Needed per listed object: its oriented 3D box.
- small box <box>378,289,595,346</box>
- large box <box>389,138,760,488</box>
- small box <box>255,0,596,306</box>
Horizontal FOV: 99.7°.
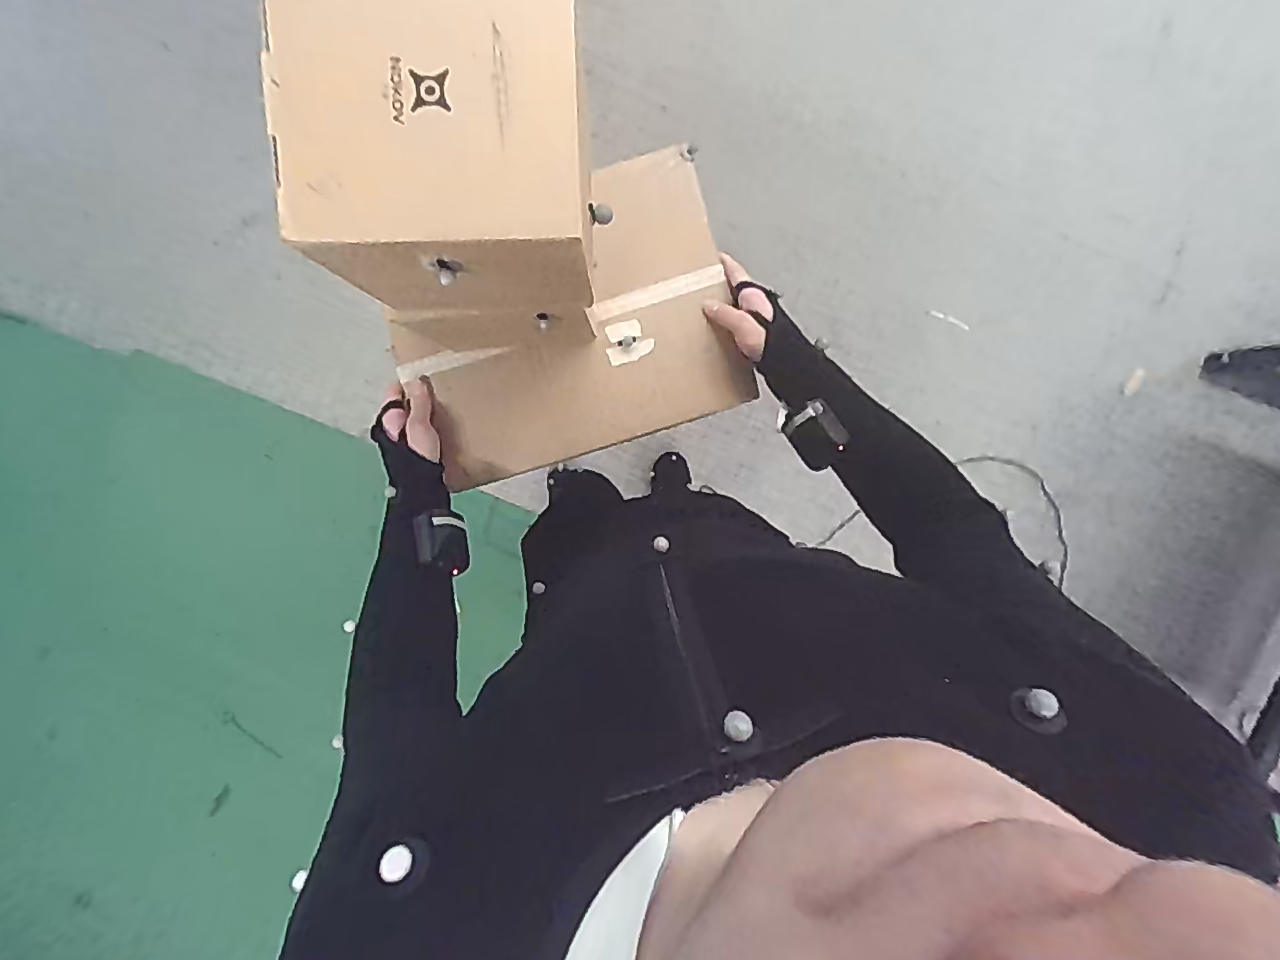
[{"bbox_3d":[-0.144,-0.235,0.539,0.179,0.176,0.168,-5,94,-1],"label":"small box"},{"bbox_3d":[-0.091,-0.205,0.786,0.408,0.320,0.320,-17,96,0],"label":"large box"},{"bbox_3d":[-0.124,-0.223,0.377,0.179,0.176,0.168,0,95,-2],"label":"small box"}]
